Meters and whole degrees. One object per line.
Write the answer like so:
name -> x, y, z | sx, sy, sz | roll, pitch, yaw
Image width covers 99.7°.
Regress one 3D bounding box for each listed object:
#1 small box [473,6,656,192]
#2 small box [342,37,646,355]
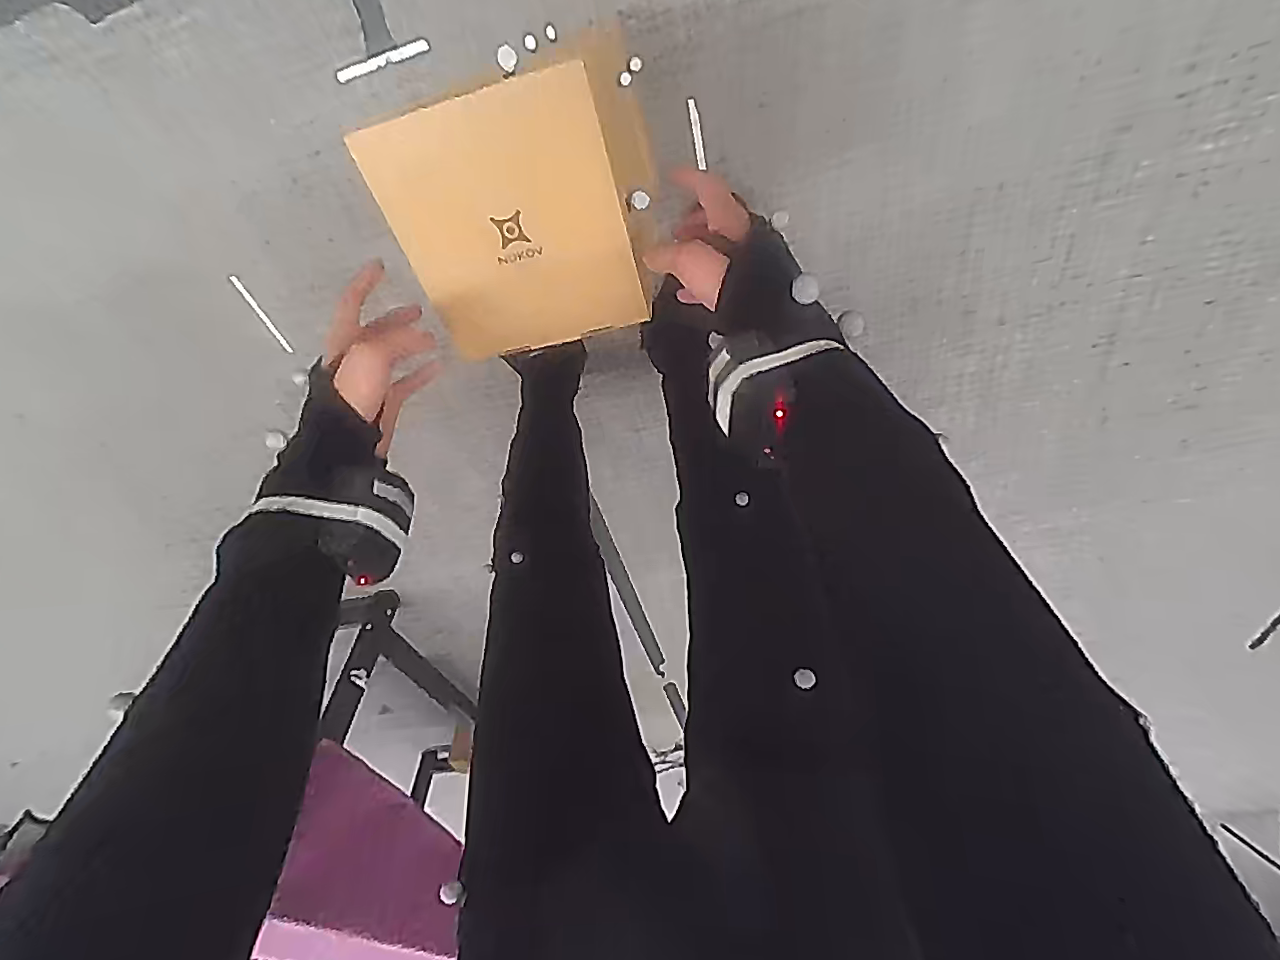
small box -> -0.082, -0.461, 0.680 | 0.168, 0.176, 0.179 | -12, 134, 13
small box -> -0.094, -0.234, 0.444 | 0.168, 0.176, 0.179 | -10, 134, 10
